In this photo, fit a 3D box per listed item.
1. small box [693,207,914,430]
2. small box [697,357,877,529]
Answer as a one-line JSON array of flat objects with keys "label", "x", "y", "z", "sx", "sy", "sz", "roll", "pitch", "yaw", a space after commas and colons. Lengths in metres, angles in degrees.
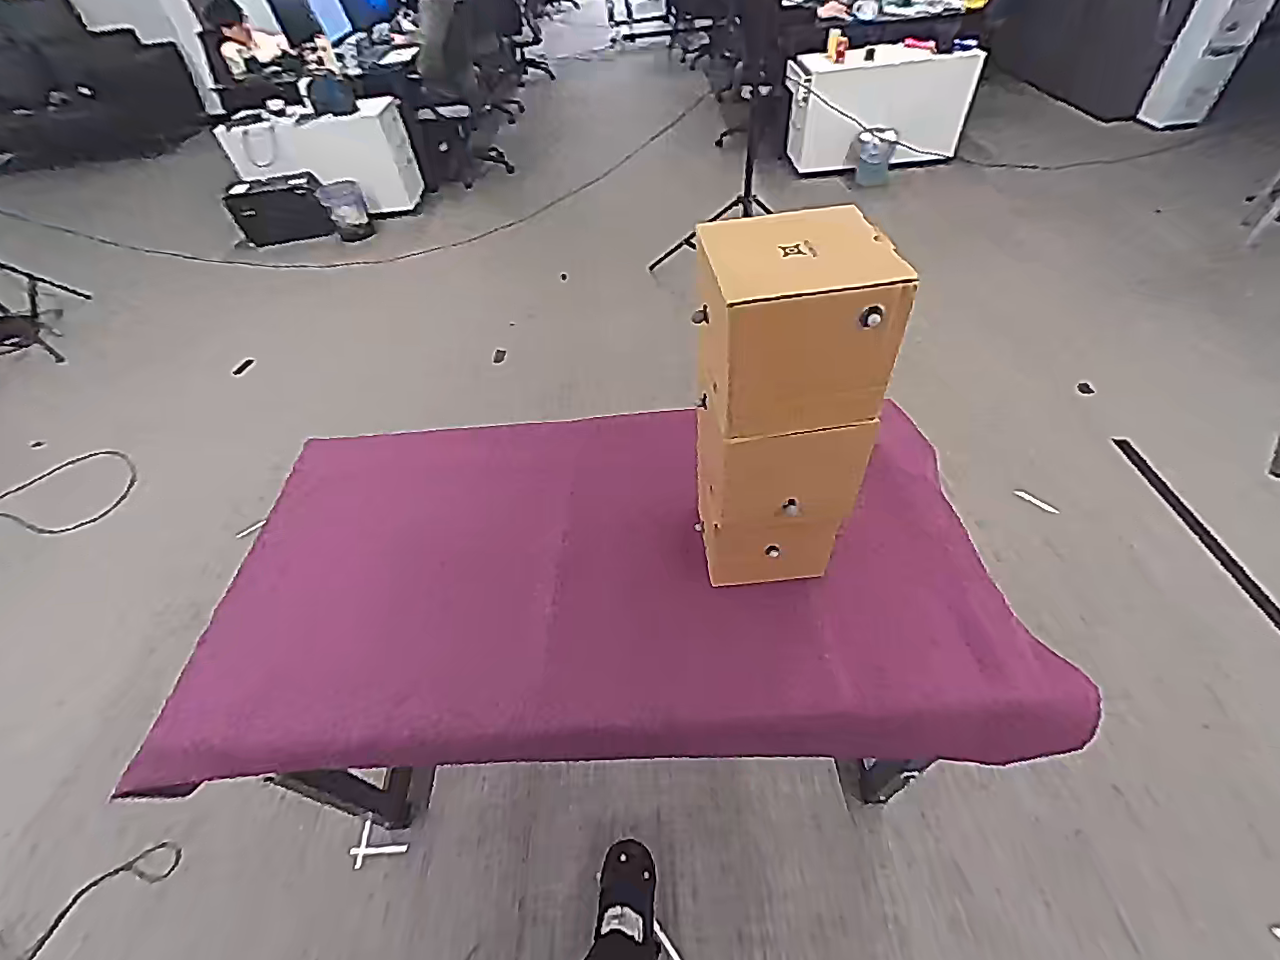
[{"label": "small box", "x": 0.159, "y": -0.170, "z": 0.590, "sx": 0.179, "sy": 0.176, "sz": 0.168, "roll": -8, "pitch": 48, "yaw": -1}, {"label": "small box", "x": 0.173, "y": -0.056, "z": 0.705, "sx": 0.179, "sy": 0.176, "sz": 0.168, "roll": -8, "pitch": 48, "yaw": -1}]
